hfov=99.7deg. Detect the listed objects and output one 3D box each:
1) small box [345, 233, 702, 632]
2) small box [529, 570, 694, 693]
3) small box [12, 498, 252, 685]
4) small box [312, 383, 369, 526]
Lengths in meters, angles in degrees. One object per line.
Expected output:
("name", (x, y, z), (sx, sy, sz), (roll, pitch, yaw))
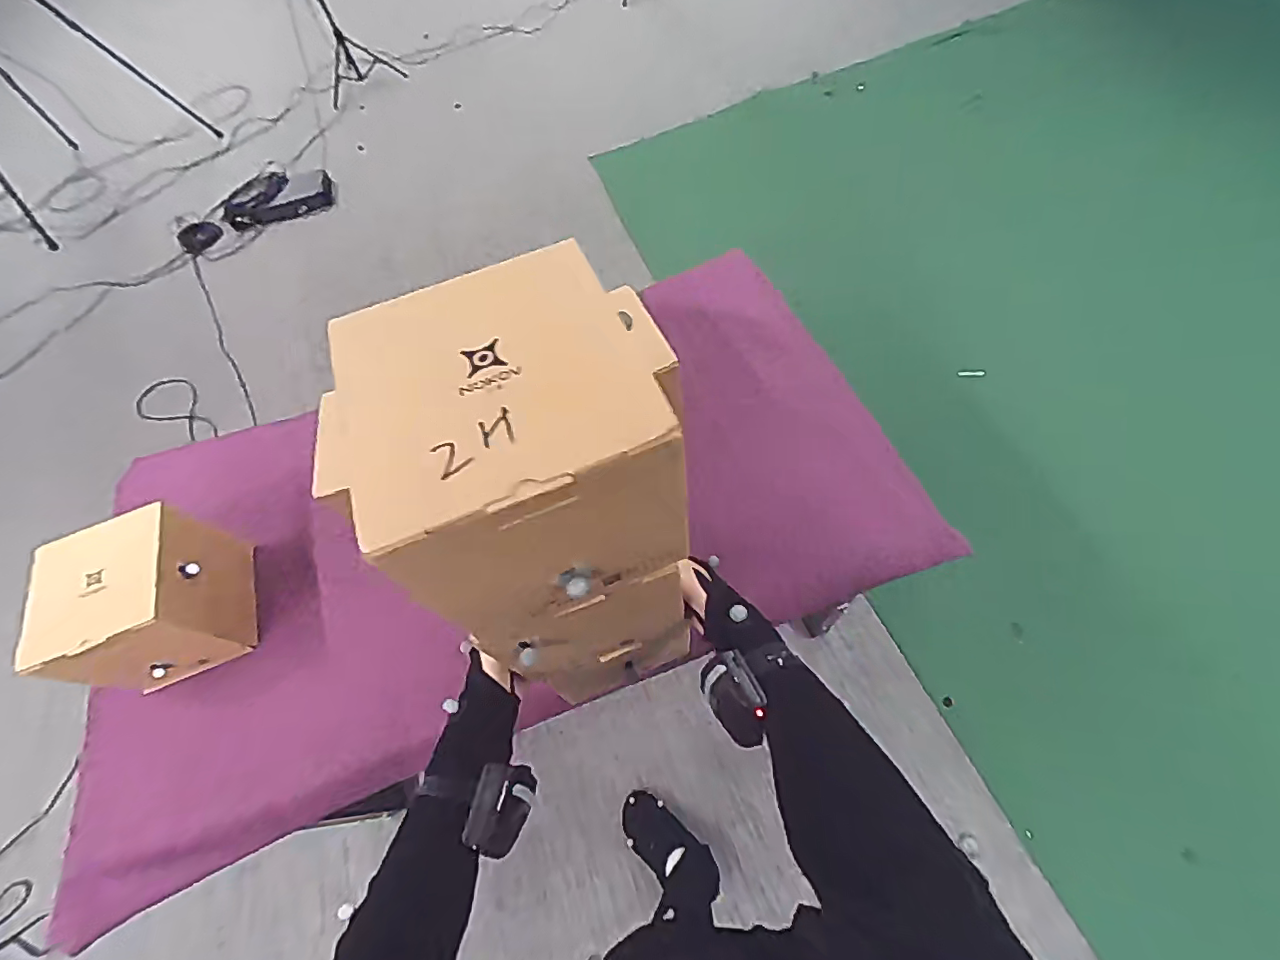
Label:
("small box", (-0.068, -0.024, 0.365), (0.168, 0.176, 0.179), (-21, 60, -6))
("small box", (-0.044, 0.141, 0.651), (0.168, 0.176, 0.179), (-21, 62, -8))
("small box", (-0.670, 0.159, 0.740), (0.168, 0.176, 0.179), (-22, 62, -5))
("small box", (-0.349, -0.036, 0.802), (0.168, 0.176, 0.179), (-13, 61, 0))
